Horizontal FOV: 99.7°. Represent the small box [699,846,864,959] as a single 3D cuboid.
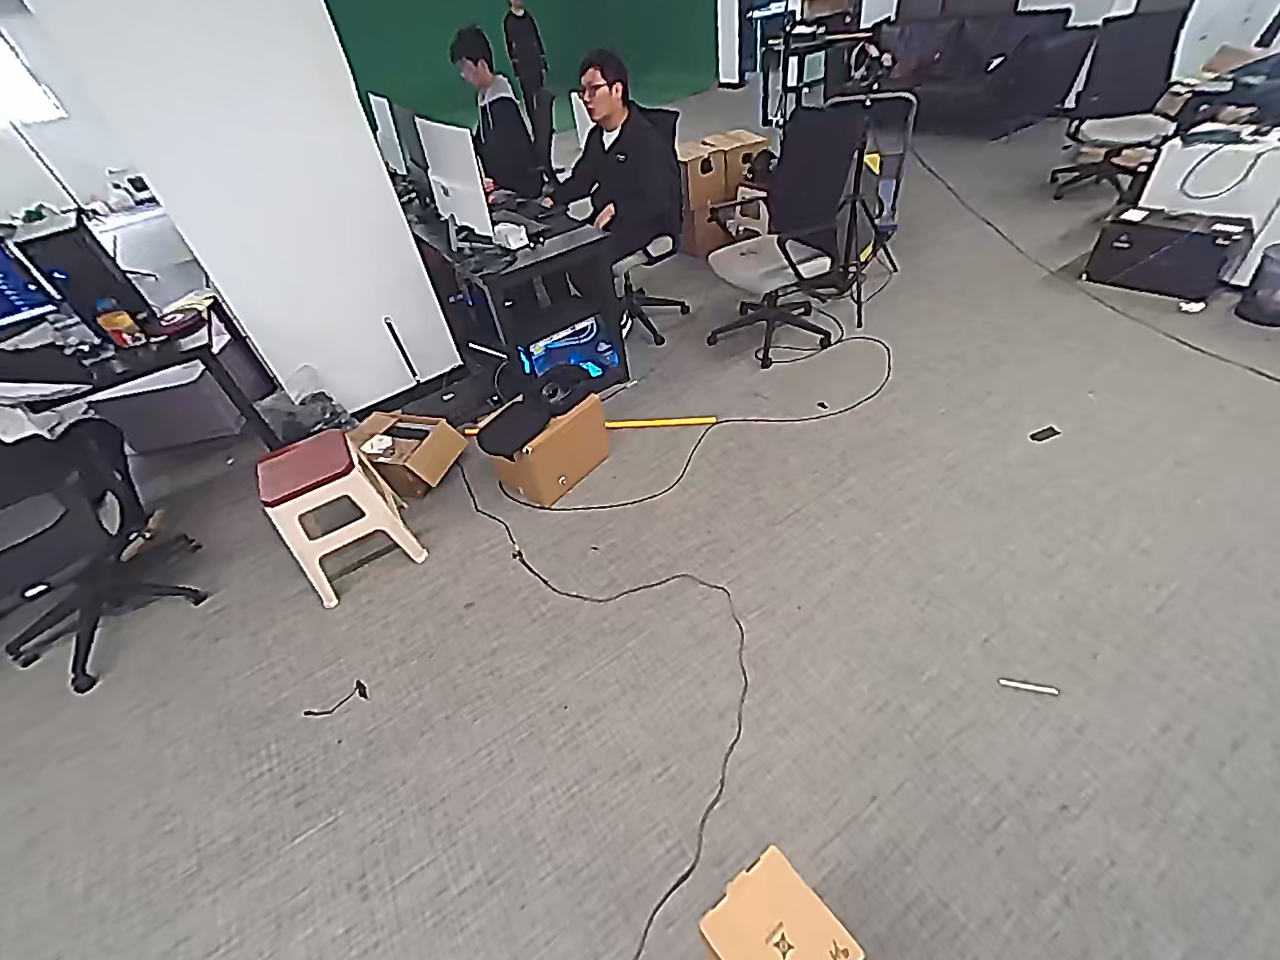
[{"bbox_3d":[0.209,0.721,0.832,0.168,0.176,0.179,-32,47,-22],"label":"small box"}]
